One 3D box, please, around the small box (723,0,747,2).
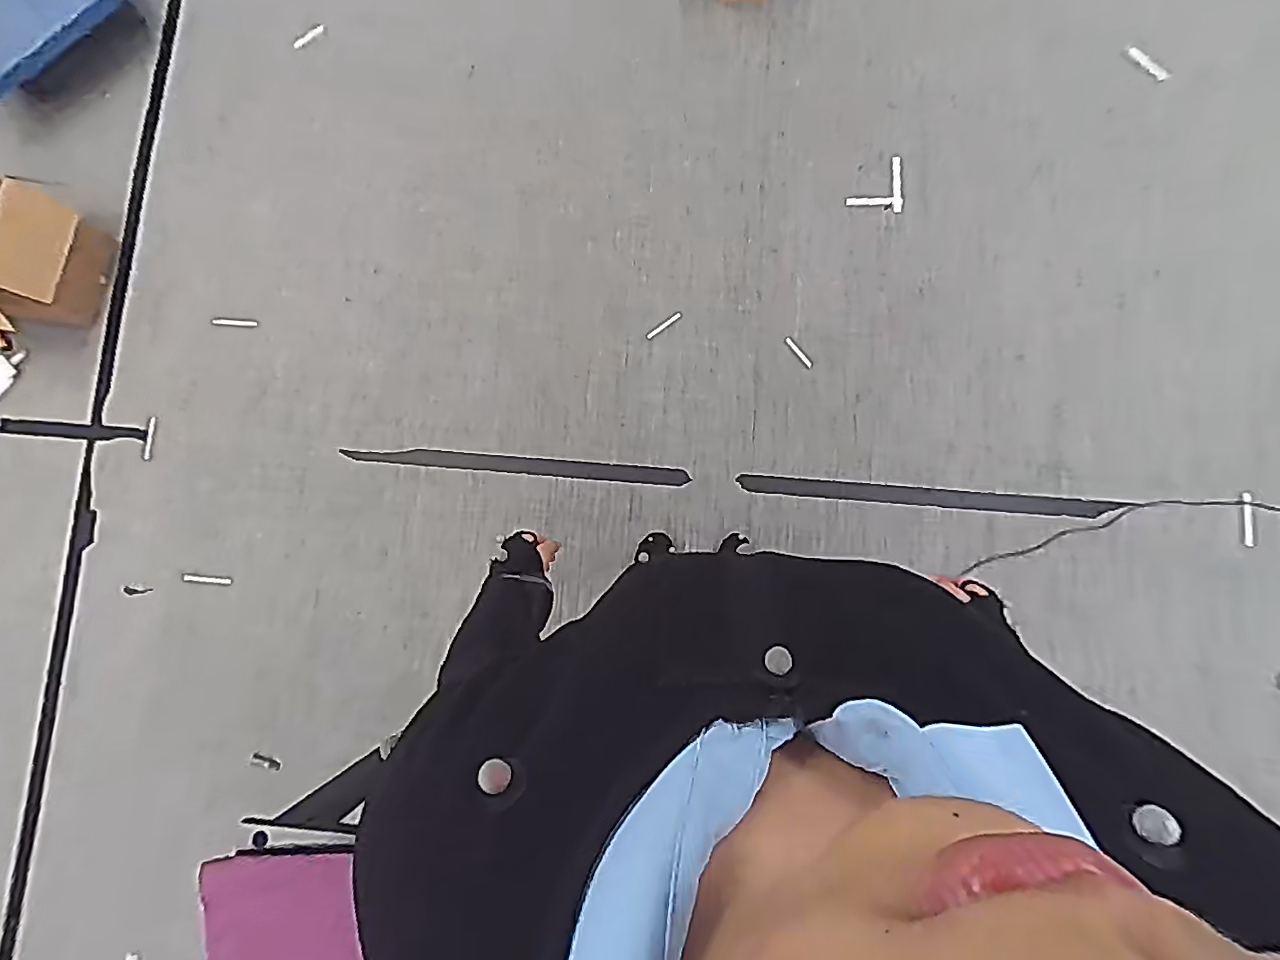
[{"bbox_3d":[0.320,-1.599,1.627,0.168,0.176,0.179,-2,83,5],"label":"small box"}]
